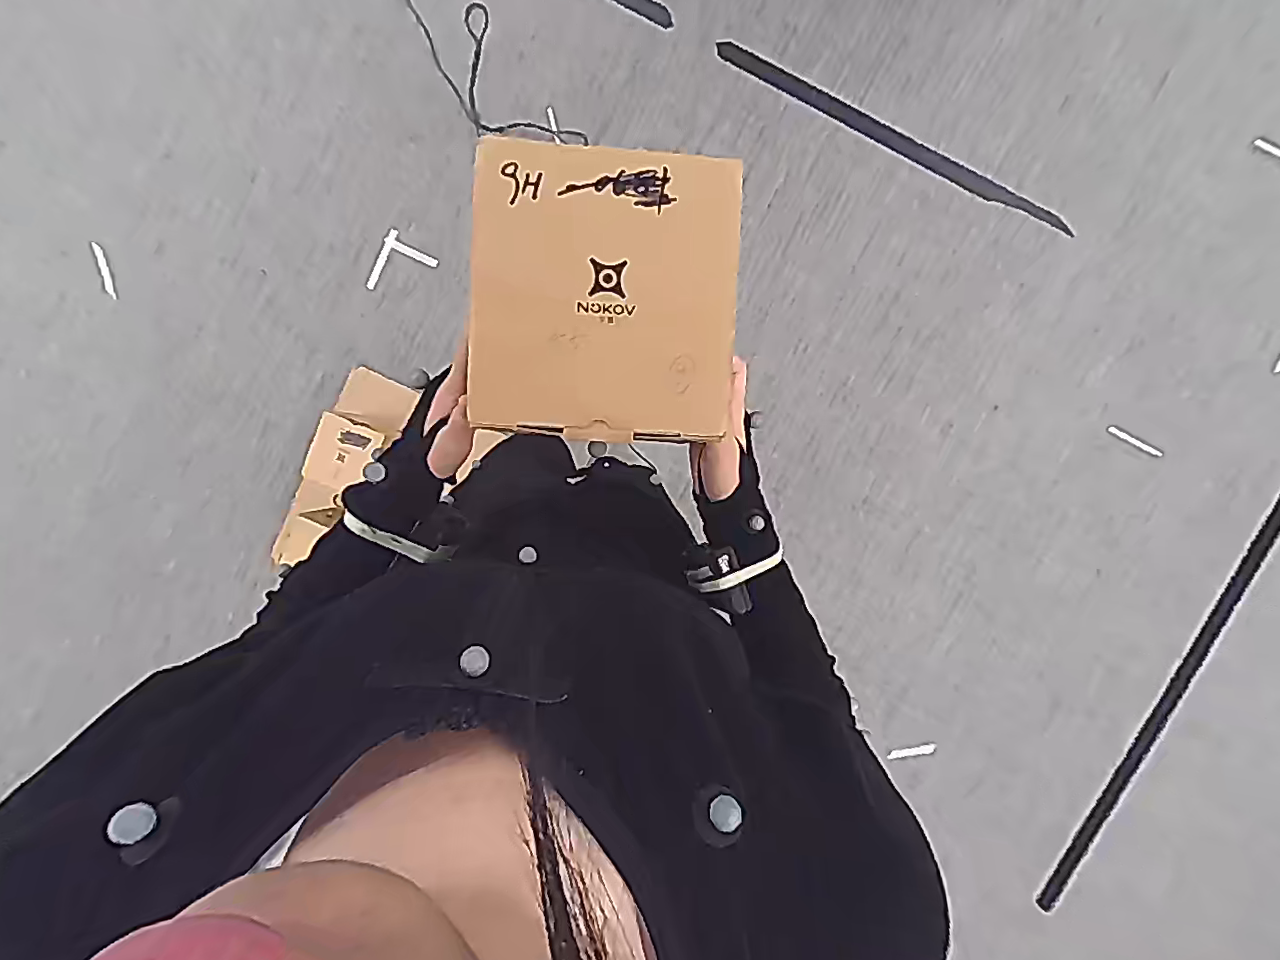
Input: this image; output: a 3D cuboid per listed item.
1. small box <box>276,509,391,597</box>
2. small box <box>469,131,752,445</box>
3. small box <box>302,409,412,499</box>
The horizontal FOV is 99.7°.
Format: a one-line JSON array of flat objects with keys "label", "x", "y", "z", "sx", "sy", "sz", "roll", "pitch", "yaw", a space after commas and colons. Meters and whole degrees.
[{"label": "small box", "x": -0.795, "y": 0.183, "z": 1.416, "sx": 0.179, "sy": 0.176, "sz": 0.168, "roll": 21, "pitch": 94, "yaw": 0}, {"label": "small box", "x": -0.024, "y": -0.120, "z": 0.407, "sx": 0.168, "sy": 0.176, "sz": 0.179, "roll": 3, "pitch": 94, "yaw": -5}, {"label": "small box", "x": -0.721, "y": -0.066, "z": 1.401, "sx": 0.168, "sy": 0.176, "sz": 0.179, "roll": 23, "pitch": 93, "yaw": 1}]
